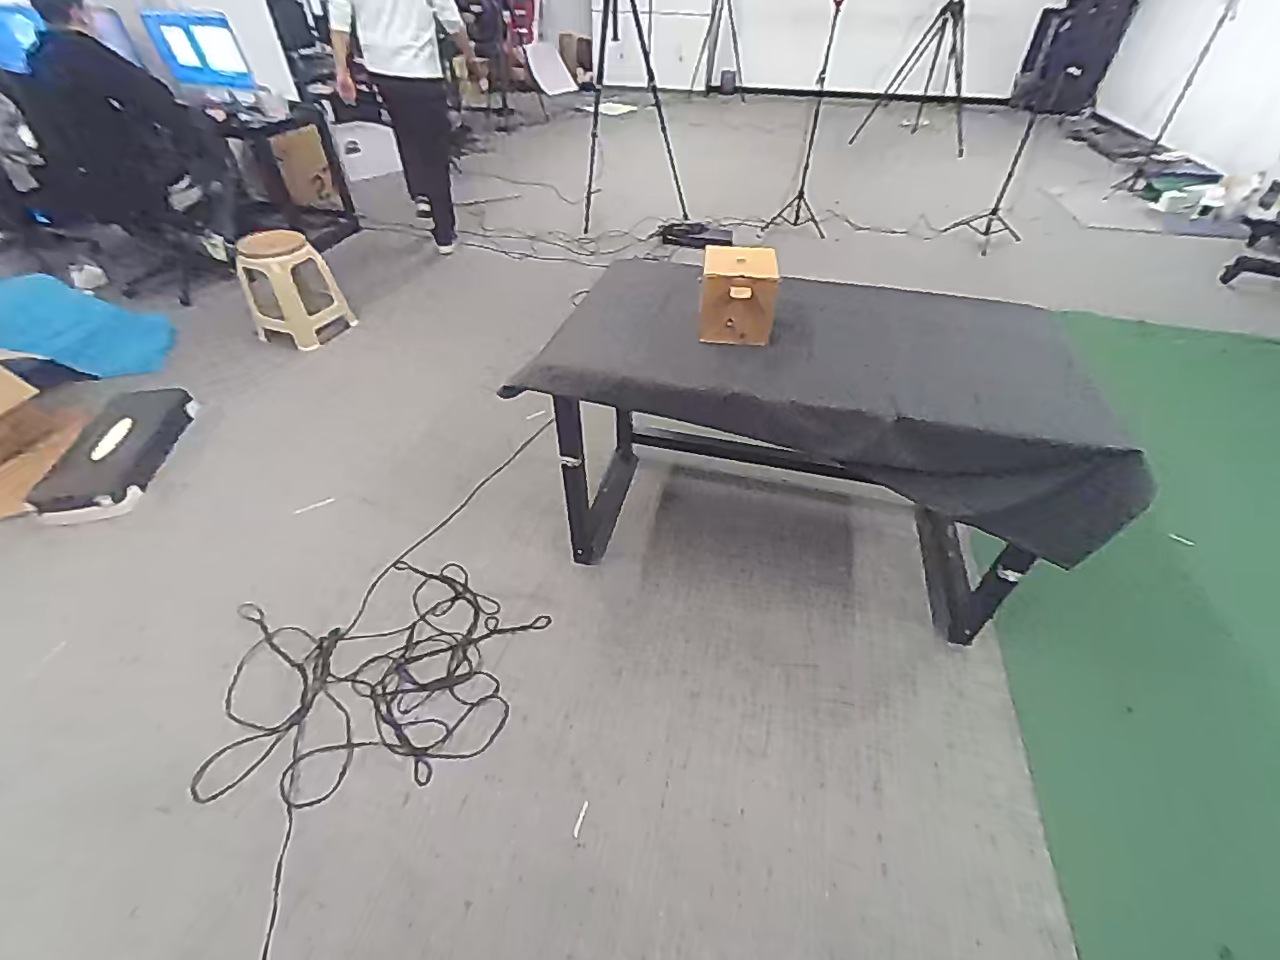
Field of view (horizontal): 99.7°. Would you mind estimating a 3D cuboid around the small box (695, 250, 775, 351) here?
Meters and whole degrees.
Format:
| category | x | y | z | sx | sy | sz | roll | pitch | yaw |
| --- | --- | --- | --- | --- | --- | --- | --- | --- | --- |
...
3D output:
| category | x | y | z | sx | sy | sz | roll | pitch | yaw |
| --- | --- | --- | --- | --- | --- | --- | --- | --- | --- |
| small box | 0.221 | -0.431 | 1.295 | 0.168 | 0.176 | 0.179 | 4 | 43 | 4 |
